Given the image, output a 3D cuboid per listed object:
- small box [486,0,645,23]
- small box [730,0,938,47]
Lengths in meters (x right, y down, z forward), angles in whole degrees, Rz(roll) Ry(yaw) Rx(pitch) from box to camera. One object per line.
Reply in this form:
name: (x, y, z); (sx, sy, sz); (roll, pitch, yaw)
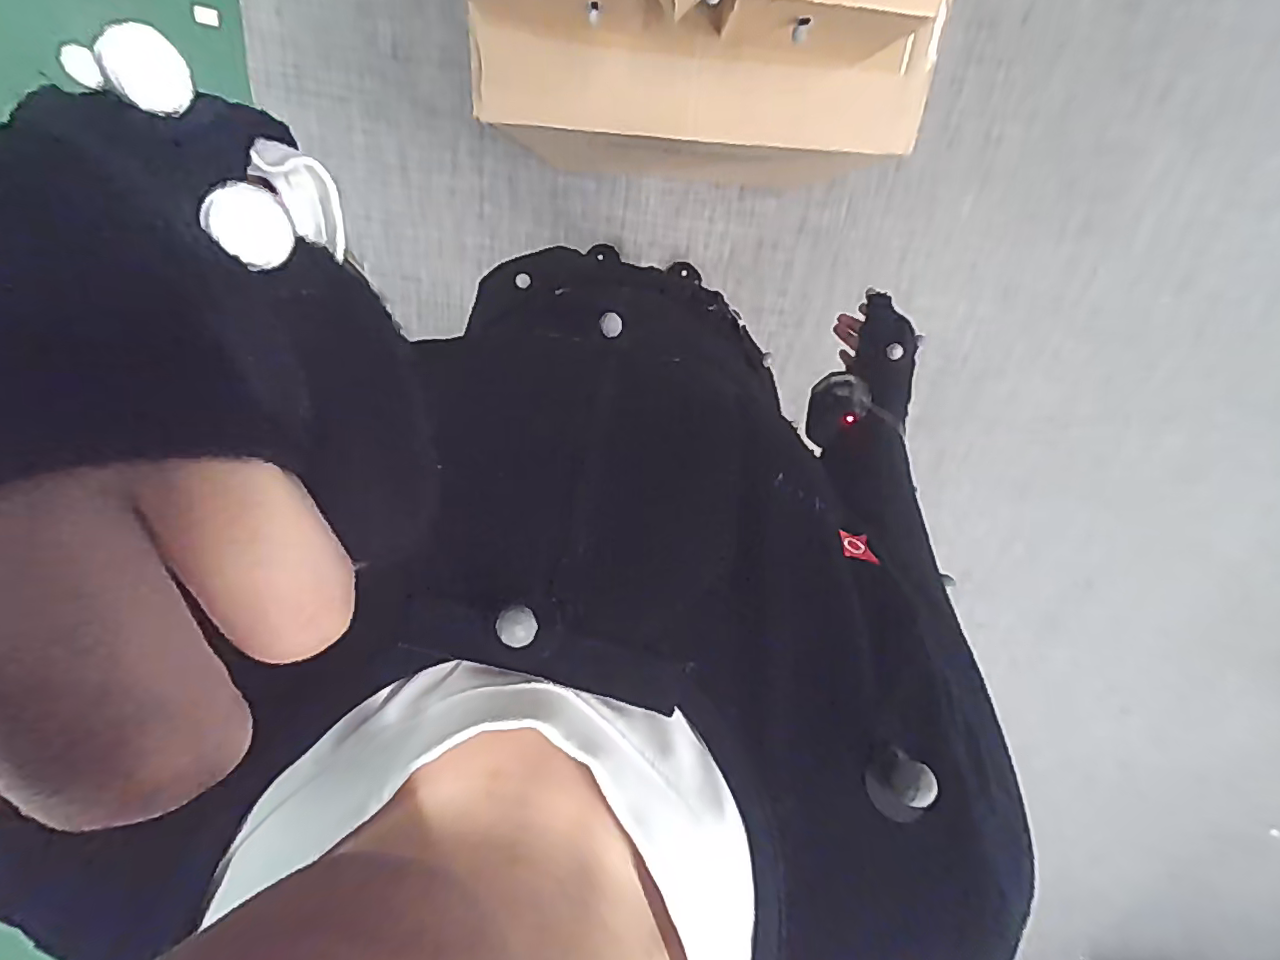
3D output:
small box: (-0.075, -0.549, 0.495); (0.179, 0.176, 0.168); (4, 117, 1)
small box: (0.185, -0.526, 0.498); (0.179, 0.176, 0.168); (7, 119, 0)
